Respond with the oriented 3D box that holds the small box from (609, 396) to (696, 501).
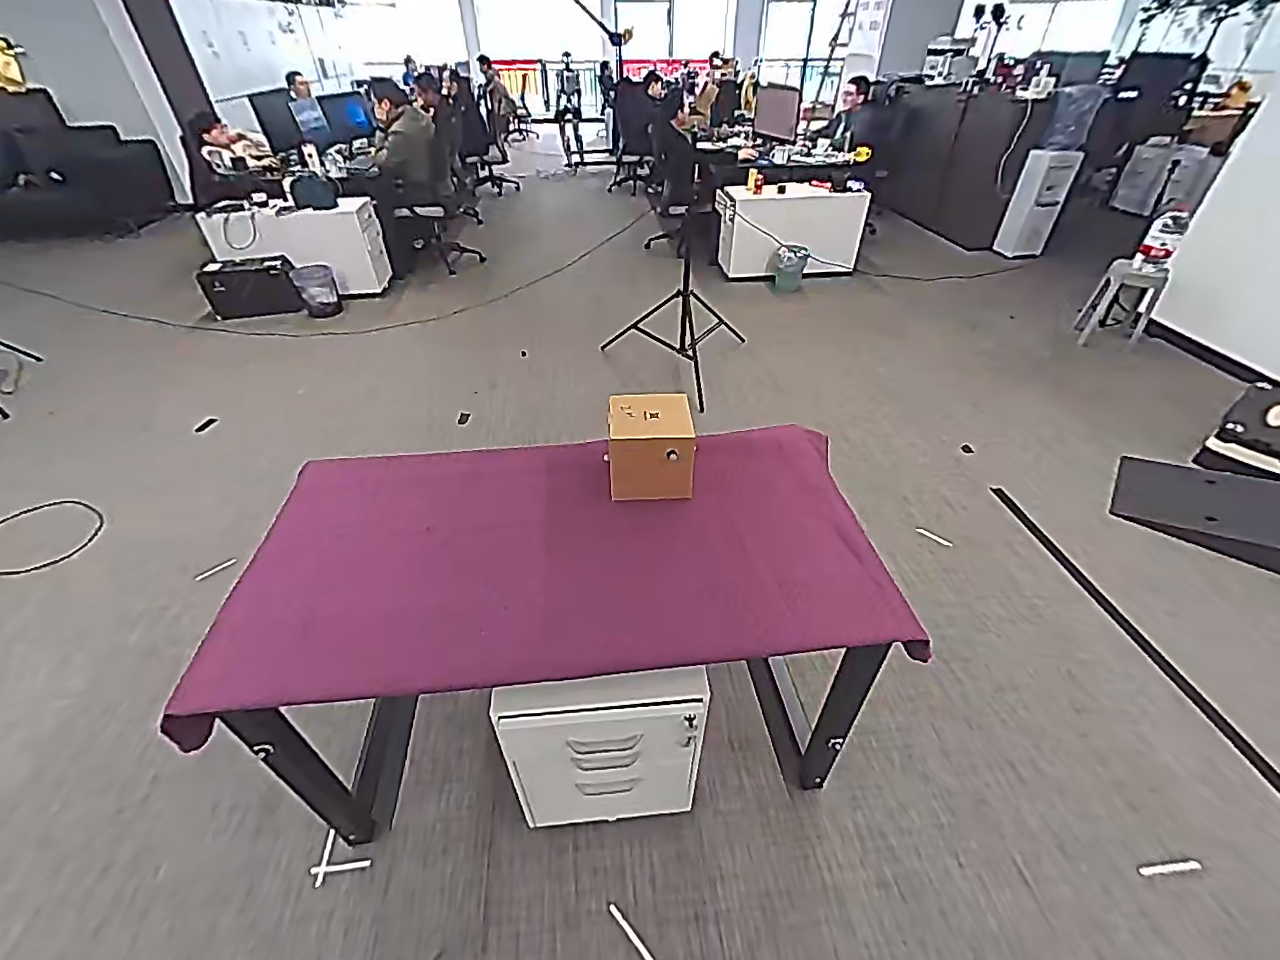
[{"bbox_3d":[0.022,-0.068,1.189,0.179,0.176,0.168,-2,40,-2],"label":"small box"}]
